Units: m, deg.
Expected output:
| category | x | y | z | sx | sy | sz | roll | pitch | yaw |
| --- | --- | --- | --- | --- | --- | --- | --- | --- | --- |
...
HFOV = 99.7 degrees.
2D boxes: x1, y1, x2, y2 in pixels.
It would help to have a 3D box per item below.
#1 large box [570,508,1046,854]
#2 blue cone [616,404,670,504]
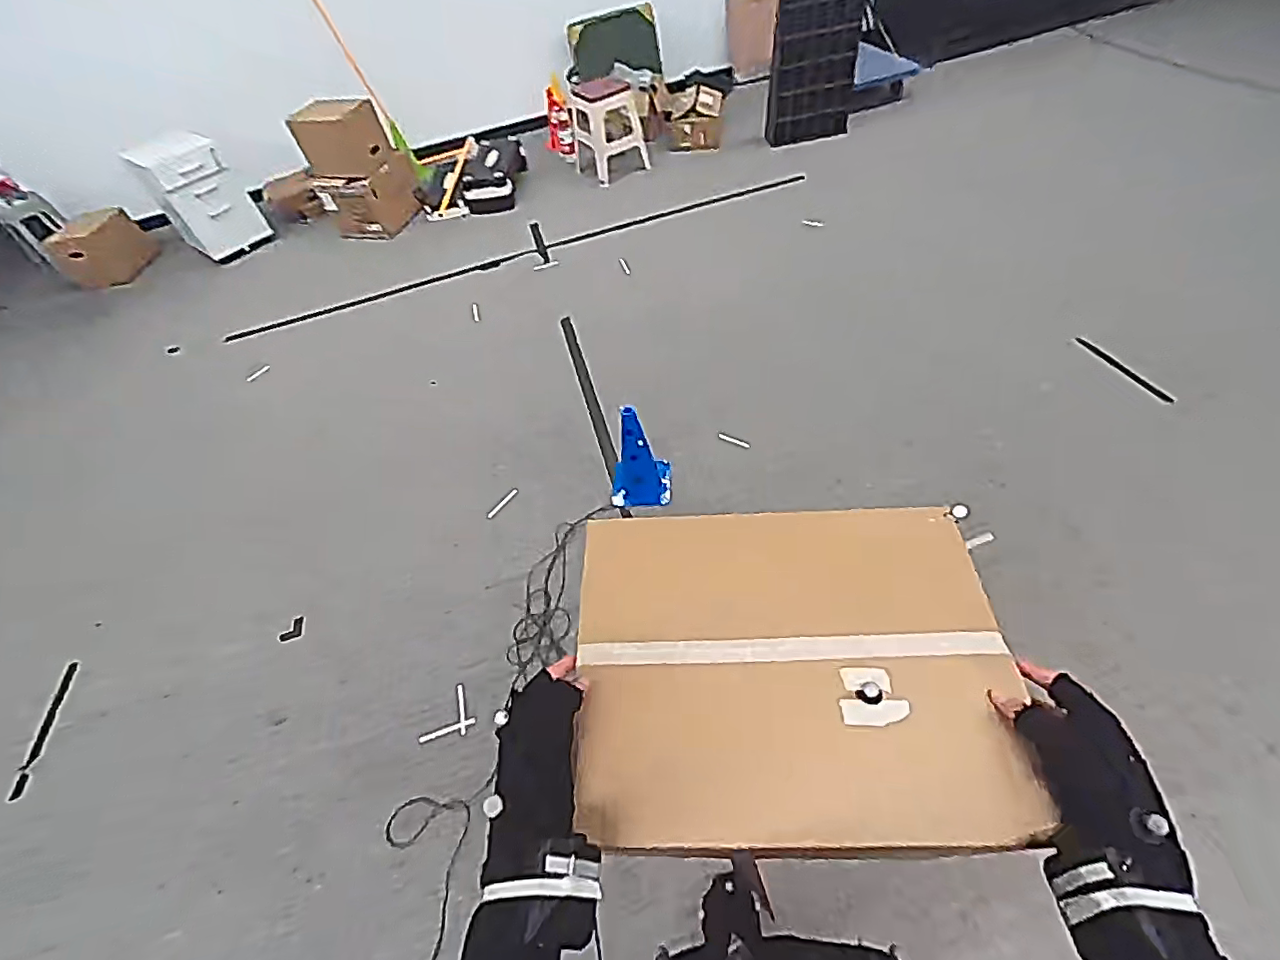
| category | x | y | z | sx | sy | sz | roll | pitch | yaw |
| --- | --- | --- | --- | --- | --- | --- | --- | --- | --- |
| large box | 0.143 | 0.254 | 0.655 | 0.408 | 0.320 | 0.320 | -3 | 54 | 3 |
| blue cone | -0.011 | -0.095 | 1.788 | 0.193 | 0.380 | 0.192 | -1 | 51 | 9 |
